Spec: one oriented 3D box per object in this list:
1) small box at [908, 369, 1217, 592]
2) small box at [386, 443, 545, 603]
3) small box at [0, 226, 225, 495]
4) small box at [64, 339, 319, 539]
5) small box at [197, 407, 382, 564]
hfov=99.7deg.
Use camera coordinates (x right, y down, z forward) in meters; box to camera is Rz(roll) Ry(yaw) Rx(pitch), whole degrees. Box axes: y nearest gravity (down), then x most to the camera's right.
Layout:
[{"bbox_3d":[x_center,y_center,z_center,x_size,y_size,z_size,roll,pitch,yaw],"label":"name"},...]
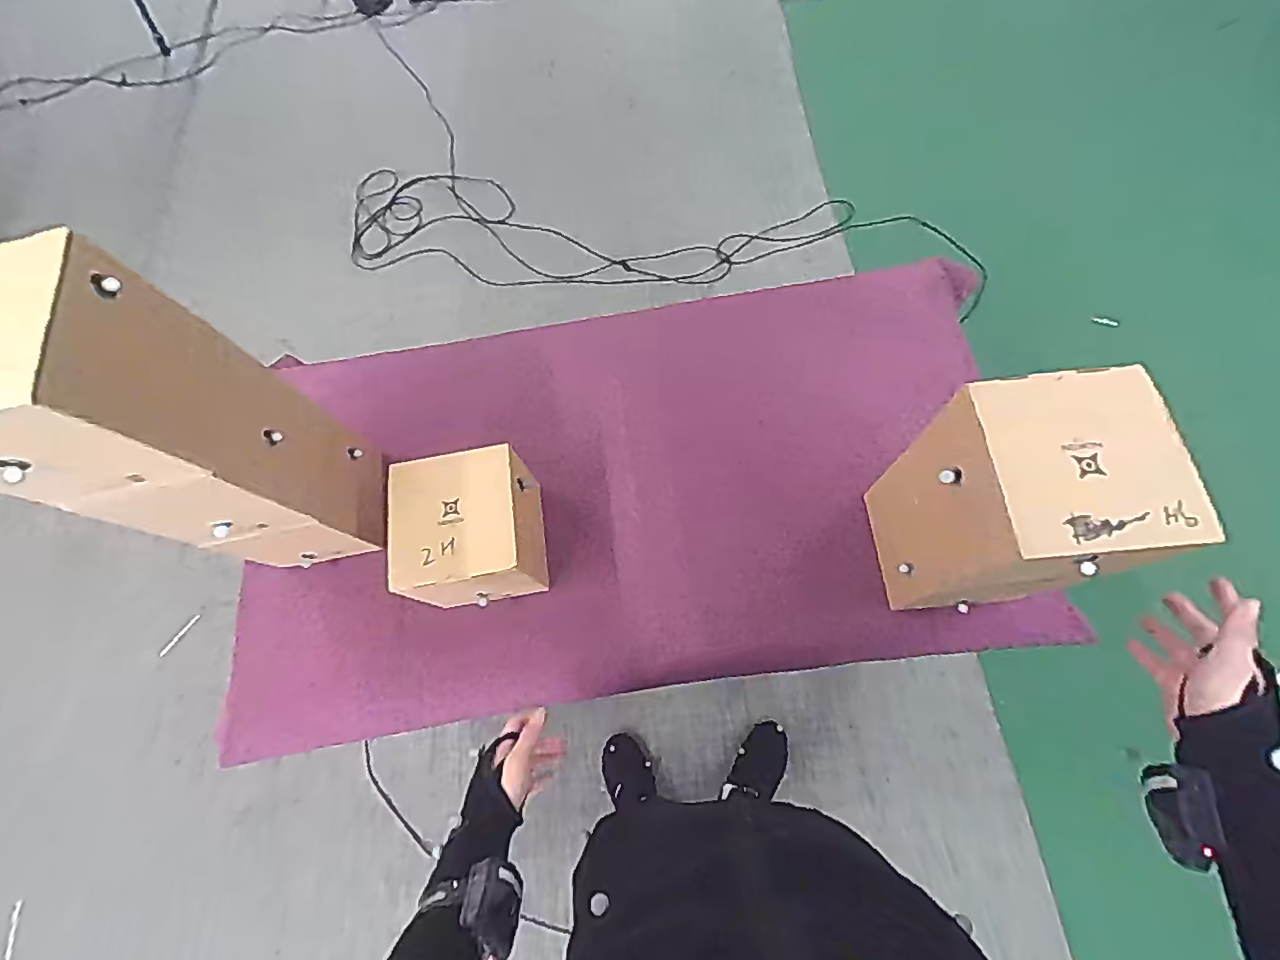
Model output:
[{"bbox_3d":[0.402,0.010,0.559,0.168,0.176,0.179,-5,68,5],"label":"small box"},{"bbox_3d":[-0.239,0.069,0.772,0.168,0.176,0.179,-10,70,2],"label":"small box"},{"bbox_3d":[-0.537,-0.095,0.509,0.168,0.176,0.179,-12,69,2],"label":"small box"},{"bbox_3d":[-0.523,-0.041,0.662,0.168,0.176,0.179,-11,70,2],"label":"small box"},{"bbox_3d":[-0.511,0.015,0.815,0.168,0.176,0.179,-11,70,1],"label":"small box"}]
